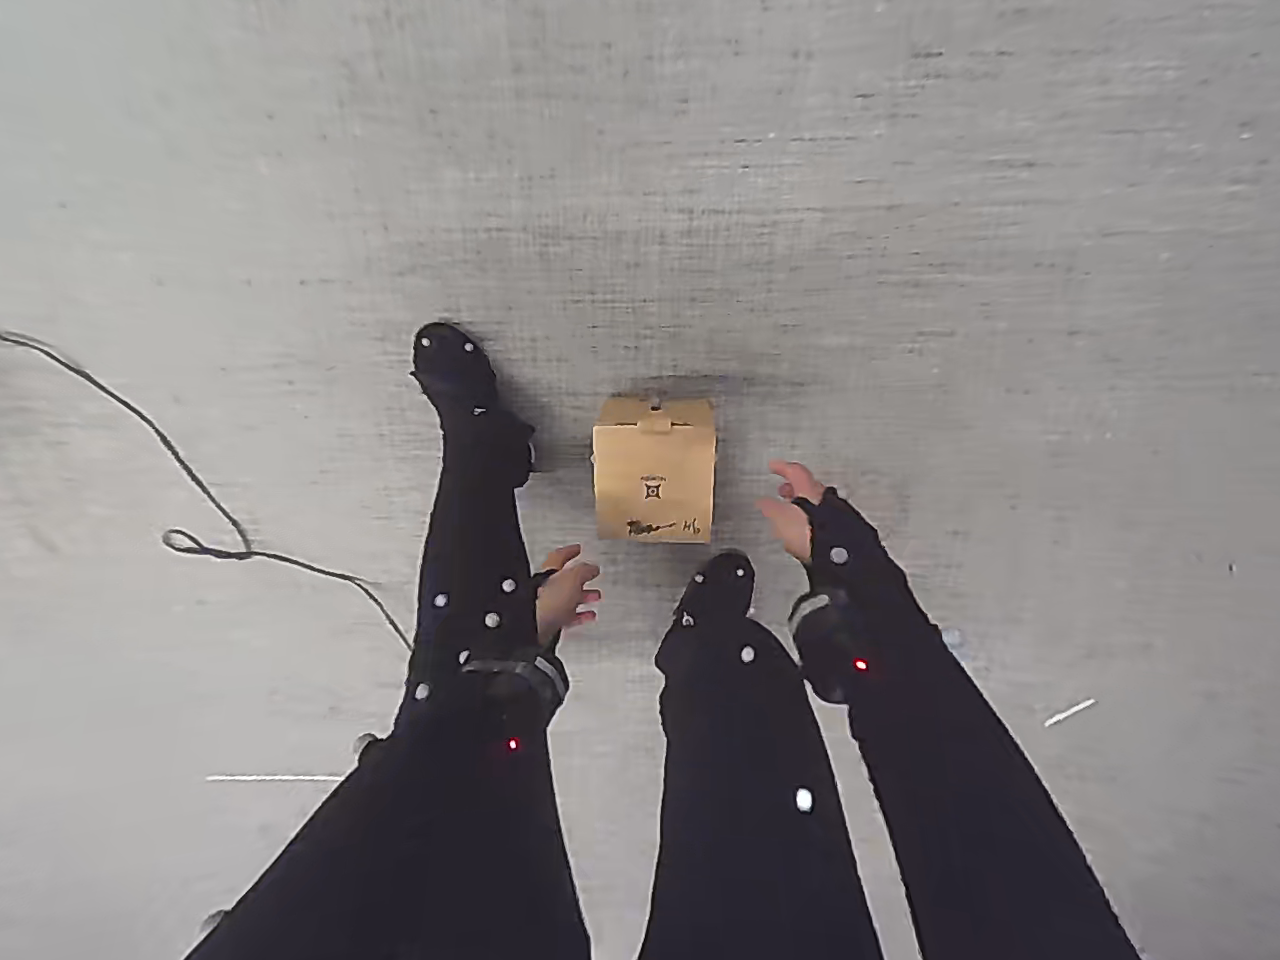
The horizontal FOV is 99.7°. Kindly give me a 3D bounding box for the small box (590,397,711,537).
[{"bbox_3d":[0.013,-0.028,0.820,0.168,0.176,0.179,1,110,2],"label":"small box"}]
